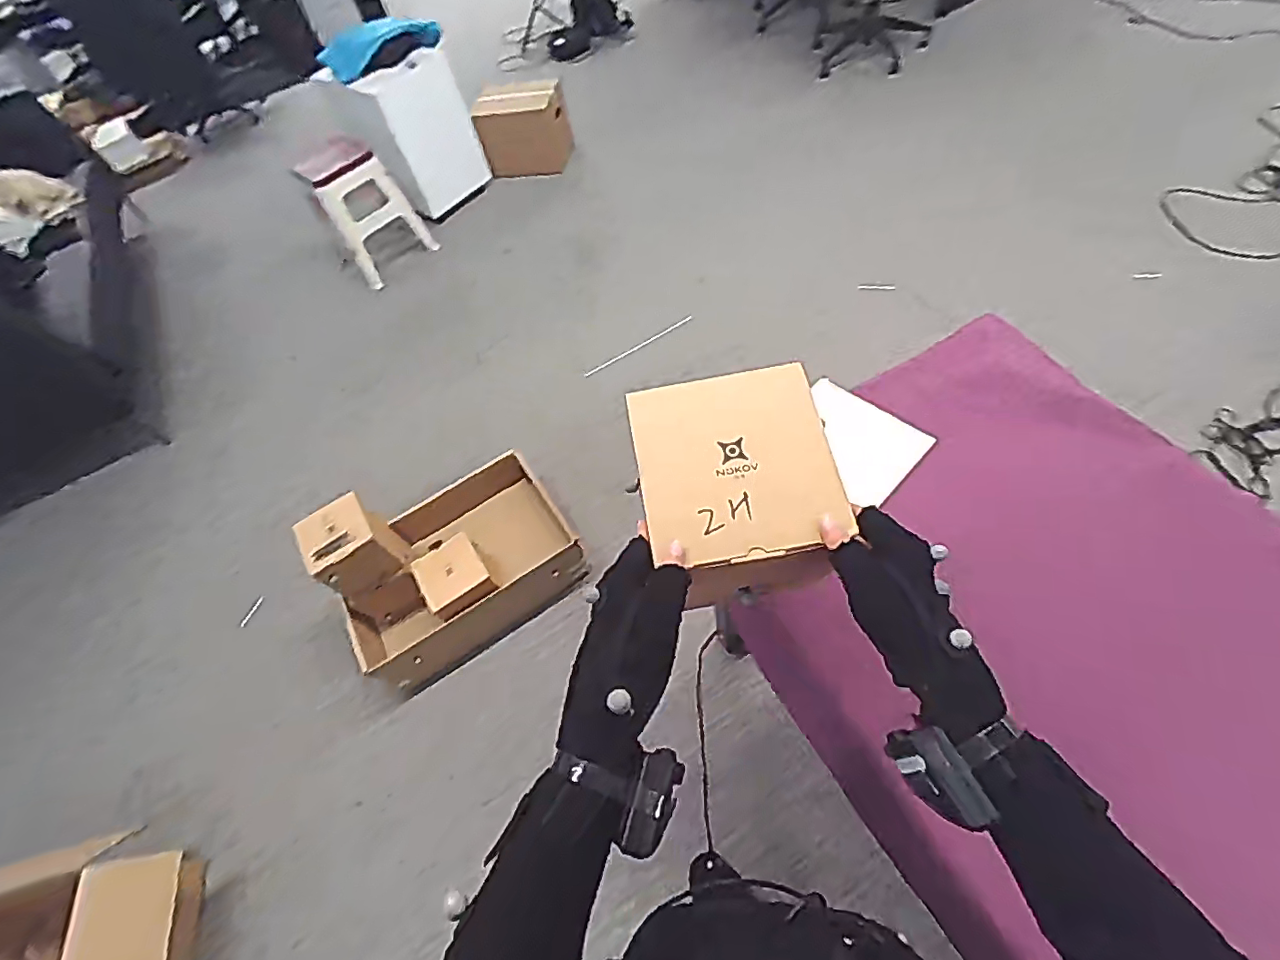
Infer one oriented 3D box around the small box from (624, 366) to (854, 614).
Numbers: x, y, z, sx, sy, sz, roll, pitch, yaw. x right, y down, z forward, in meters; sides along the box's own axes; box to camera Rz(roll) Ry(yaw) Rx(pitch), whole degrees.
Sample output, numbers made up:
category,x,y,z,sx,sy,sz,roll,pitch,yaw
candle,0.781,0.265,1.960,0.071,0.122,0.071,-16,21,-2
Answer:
category,x,y,z,sx,sy,sz,roll,pitch,yaw
small box,0.082,0.019,0.528,0.168,0.176,0.179,-10,65,1
